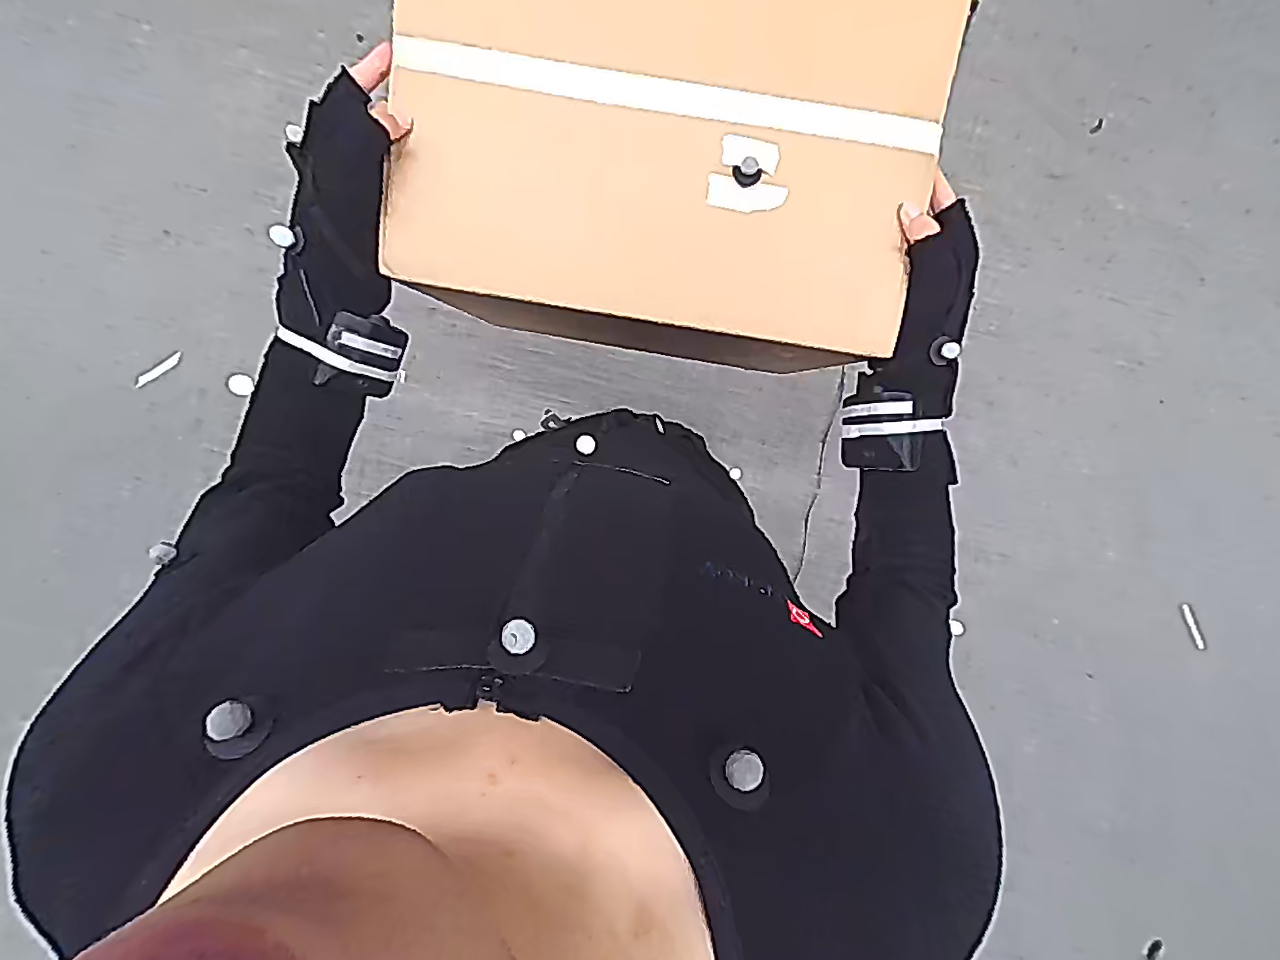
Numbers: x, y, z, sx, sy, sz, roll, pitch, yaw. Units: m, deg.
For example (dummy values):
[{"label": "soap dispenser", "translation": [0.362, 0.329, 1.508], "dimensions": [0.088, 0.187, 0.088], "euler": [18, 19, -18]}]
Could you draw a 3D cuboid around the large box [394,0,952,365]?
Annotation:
[{"label": "large box", "translation": [0.020, -0.309, 0.555], "dimensions": [0.408, 0.320, 0.320], "euler": [8, 99, -1]}]
